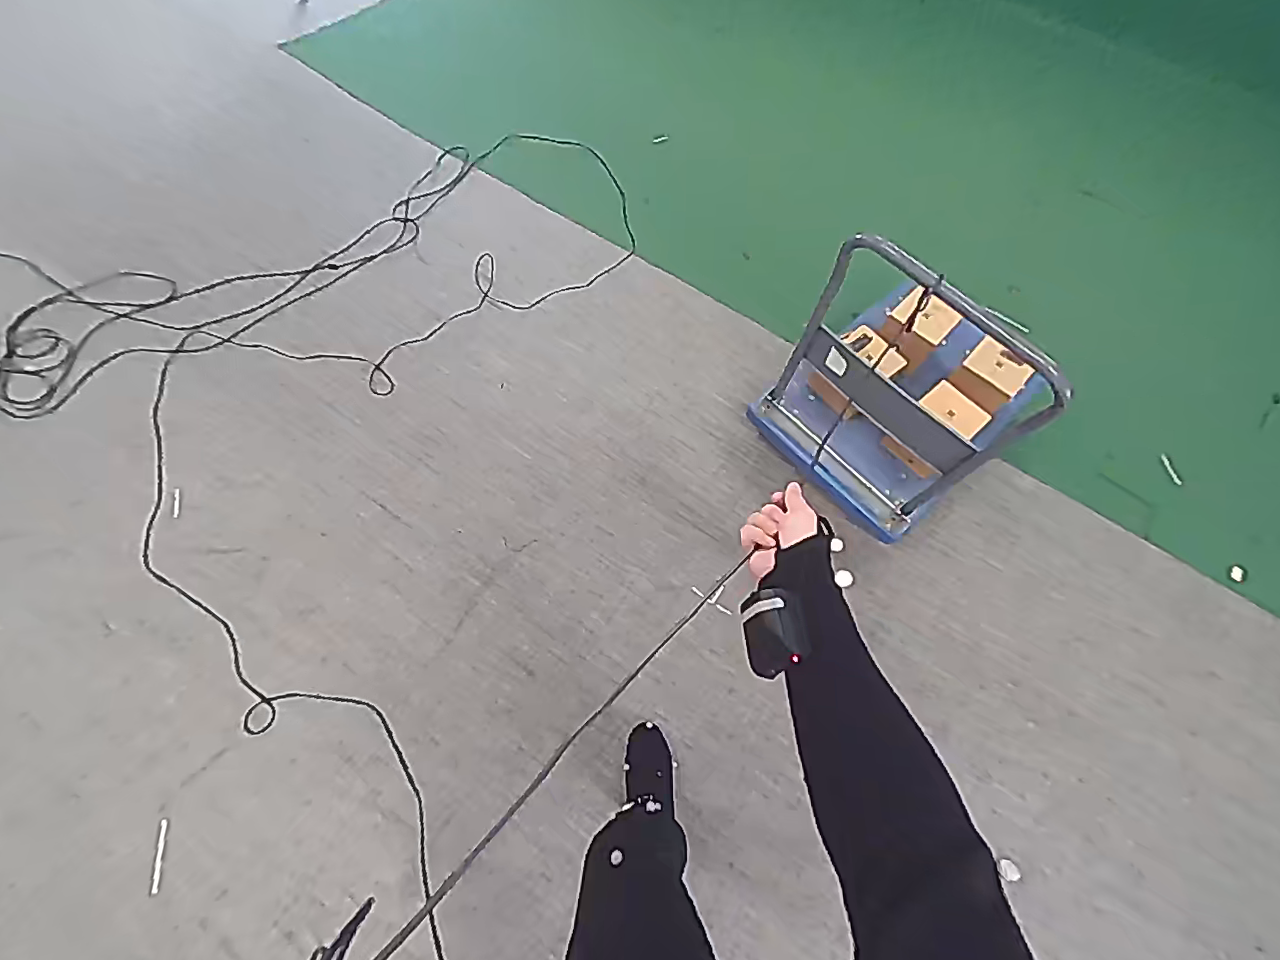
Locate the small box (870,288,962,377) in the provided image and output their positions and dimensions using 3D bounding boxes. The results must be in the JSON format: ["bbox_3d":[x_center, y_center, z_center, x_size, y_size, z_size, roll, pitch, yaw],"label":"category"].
[{"bbox_3d":[0.860,-0.459,1.706,0.168,0.176,0.179,42,68,15],"label":"small box"}]

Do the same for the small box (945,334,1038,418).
[{"bbox_3d":[1.041,-0.298,1.639,0.168,0.176,0.179,42,69,16],"label":"small box"}]

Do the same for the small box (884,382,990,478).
[{"bbox_3d":[0.841,-0.139,1.549,0.179,0.176,0.168,-37,72,-19],"label":"small box"}]
